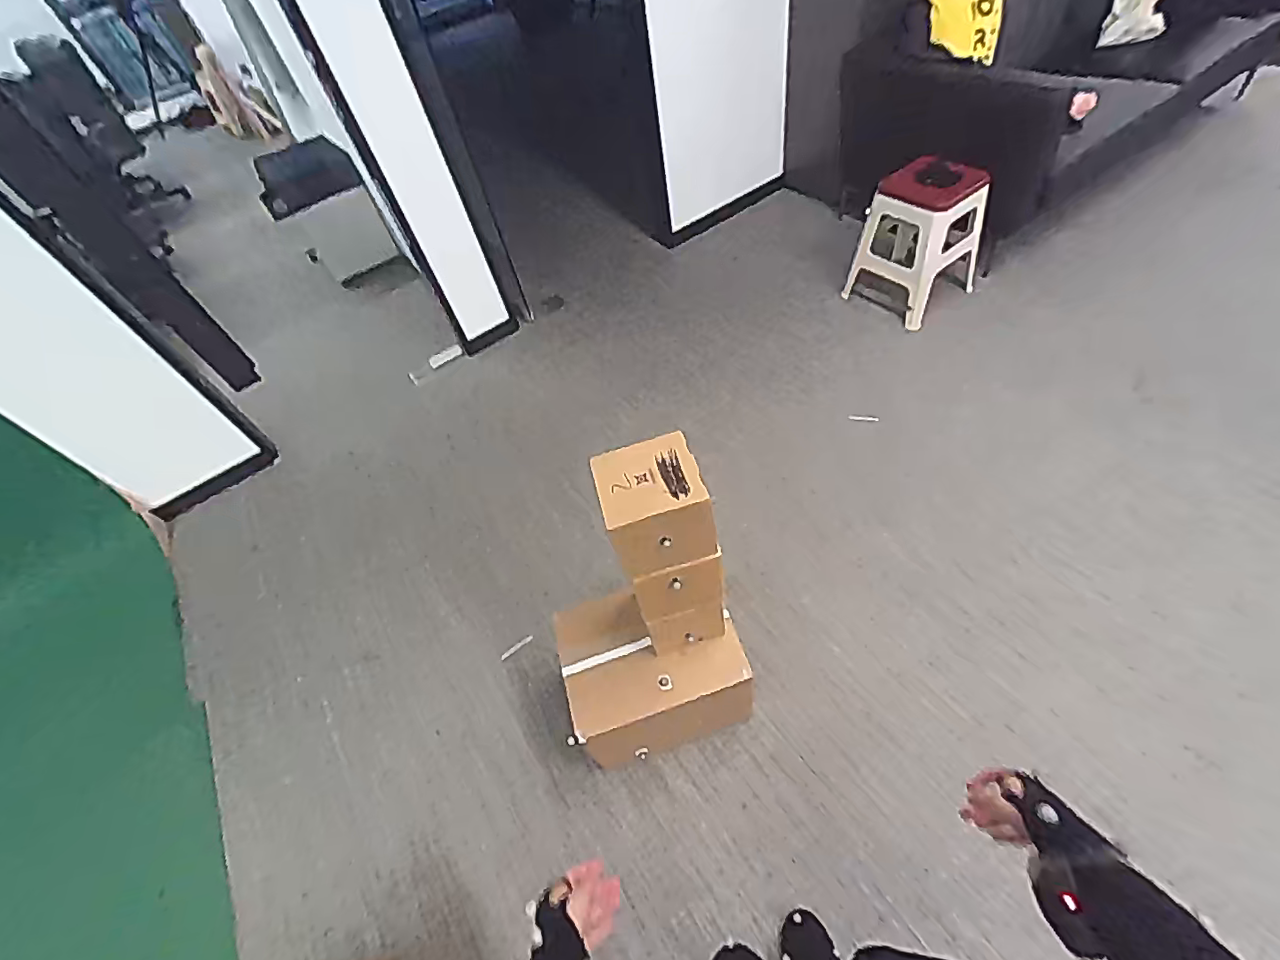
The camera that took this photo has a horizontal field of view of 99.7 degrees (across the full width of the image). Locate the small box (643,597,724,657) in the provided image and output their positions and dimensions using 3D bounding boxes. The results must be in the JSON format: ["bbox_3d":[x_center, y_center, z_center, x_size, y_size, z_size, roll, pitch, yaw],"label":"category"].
[{"bbox_3d":[0.081,0.266,1.209,0.168,0.176,0.179,-18,49,-2],"label":"small box"}]

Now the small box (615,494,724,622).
[{"bbox_3d":[0.063,0.160,1.087,0.179,0.176,0.168,-17,49,-1],"label":"small box"}]
